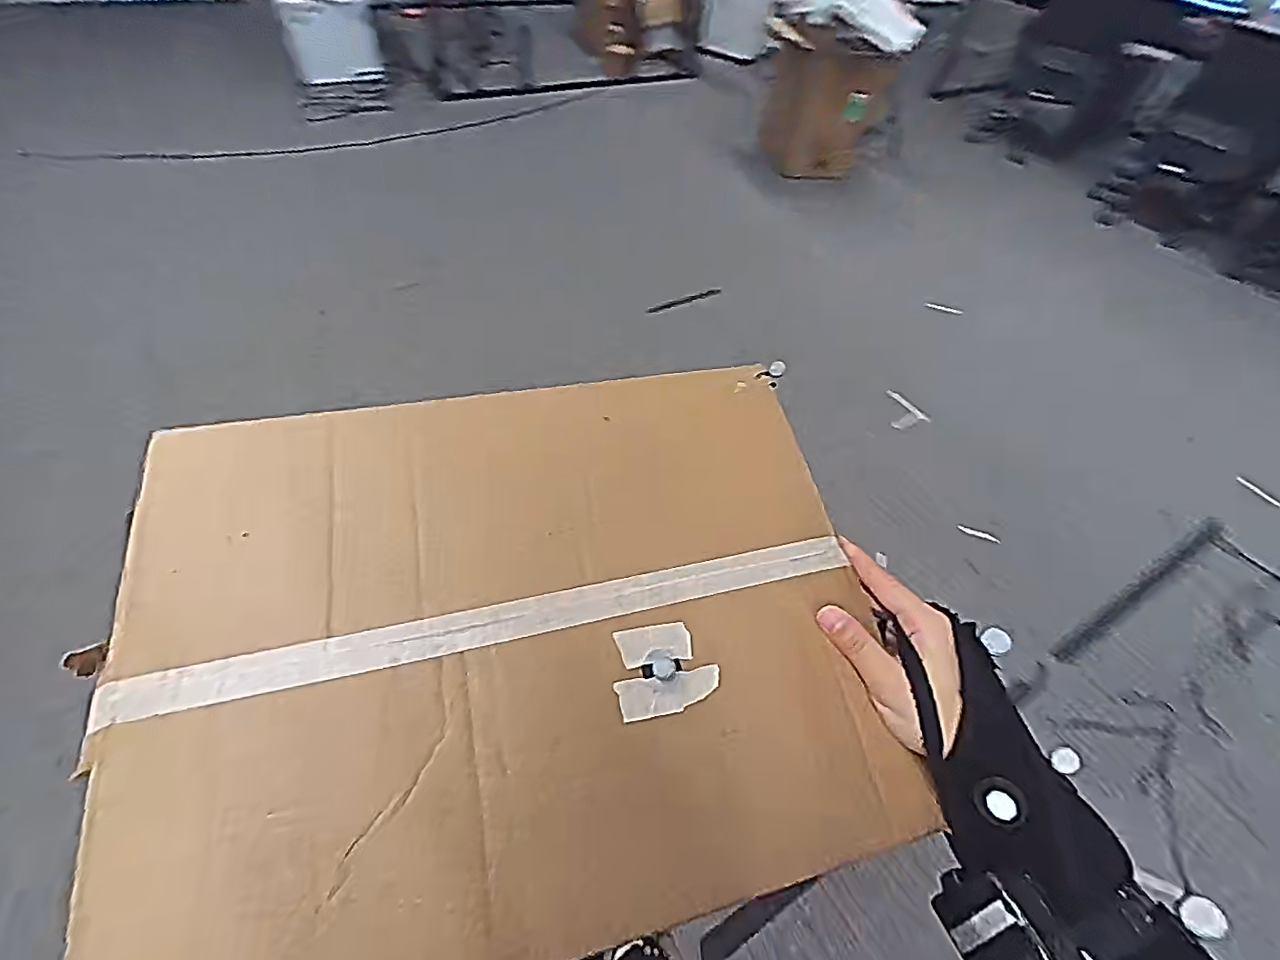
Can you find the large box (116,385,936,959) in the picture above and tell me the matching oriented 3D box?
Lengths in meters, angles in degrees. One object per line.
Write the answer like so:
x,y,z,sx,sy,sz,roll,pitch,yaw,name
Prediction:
-0.079,0.155,0.449,0.408,0.320,0.320,-8,65,-13,large box
